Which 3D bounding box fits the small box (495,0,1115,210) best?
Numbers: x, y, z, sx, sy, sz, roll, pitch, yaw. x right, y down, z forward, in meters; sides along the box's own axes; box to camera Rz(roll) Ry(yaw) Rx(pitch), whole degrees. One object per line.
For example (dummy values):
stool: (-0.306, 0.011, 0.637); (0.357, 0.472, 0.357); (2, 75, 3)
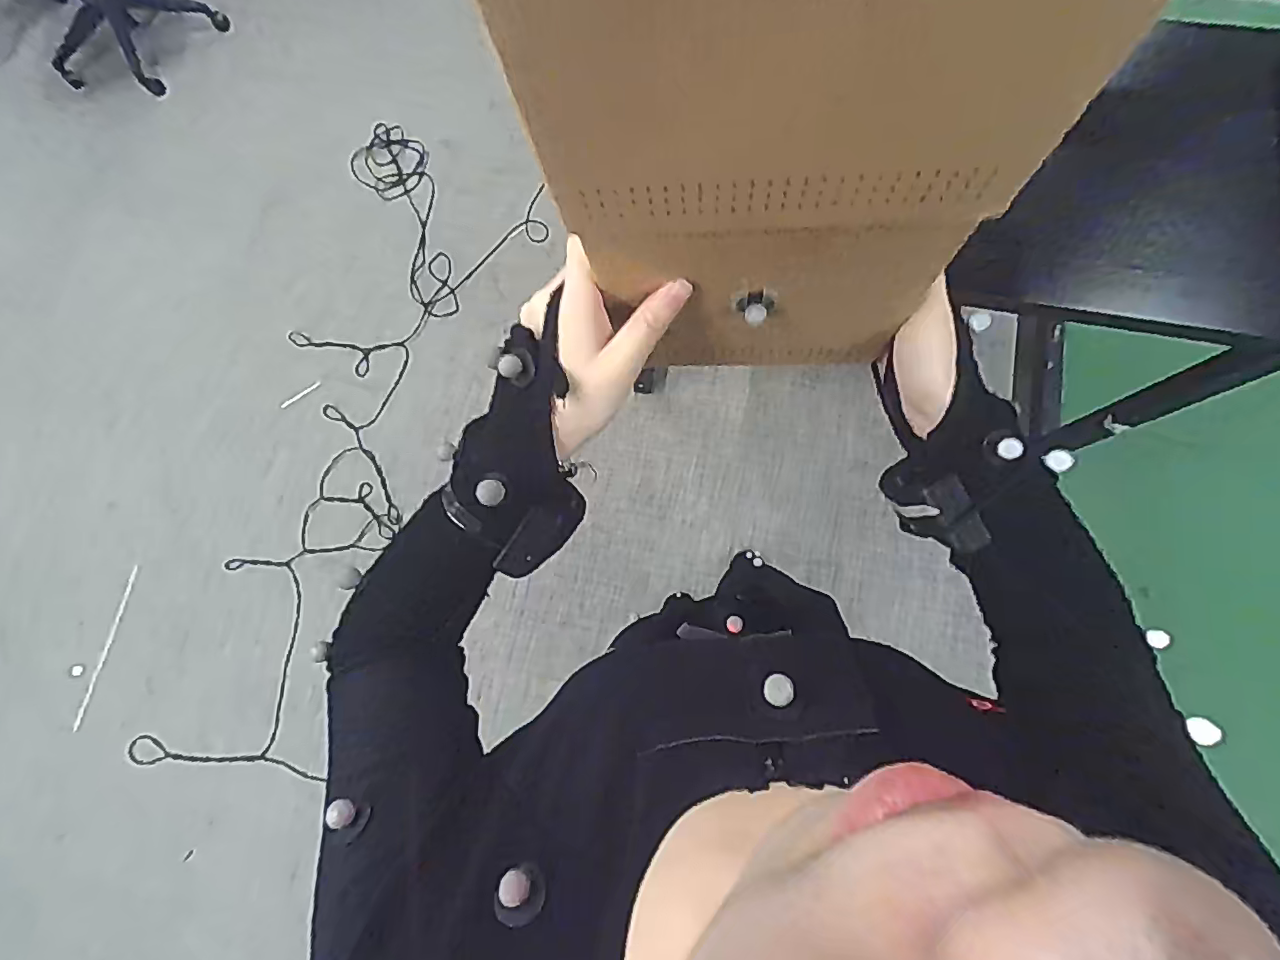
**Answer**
small box: (0.045, -0.202, 0.154); (0.179, 0.176, 0.168); (1, 80, 7)
